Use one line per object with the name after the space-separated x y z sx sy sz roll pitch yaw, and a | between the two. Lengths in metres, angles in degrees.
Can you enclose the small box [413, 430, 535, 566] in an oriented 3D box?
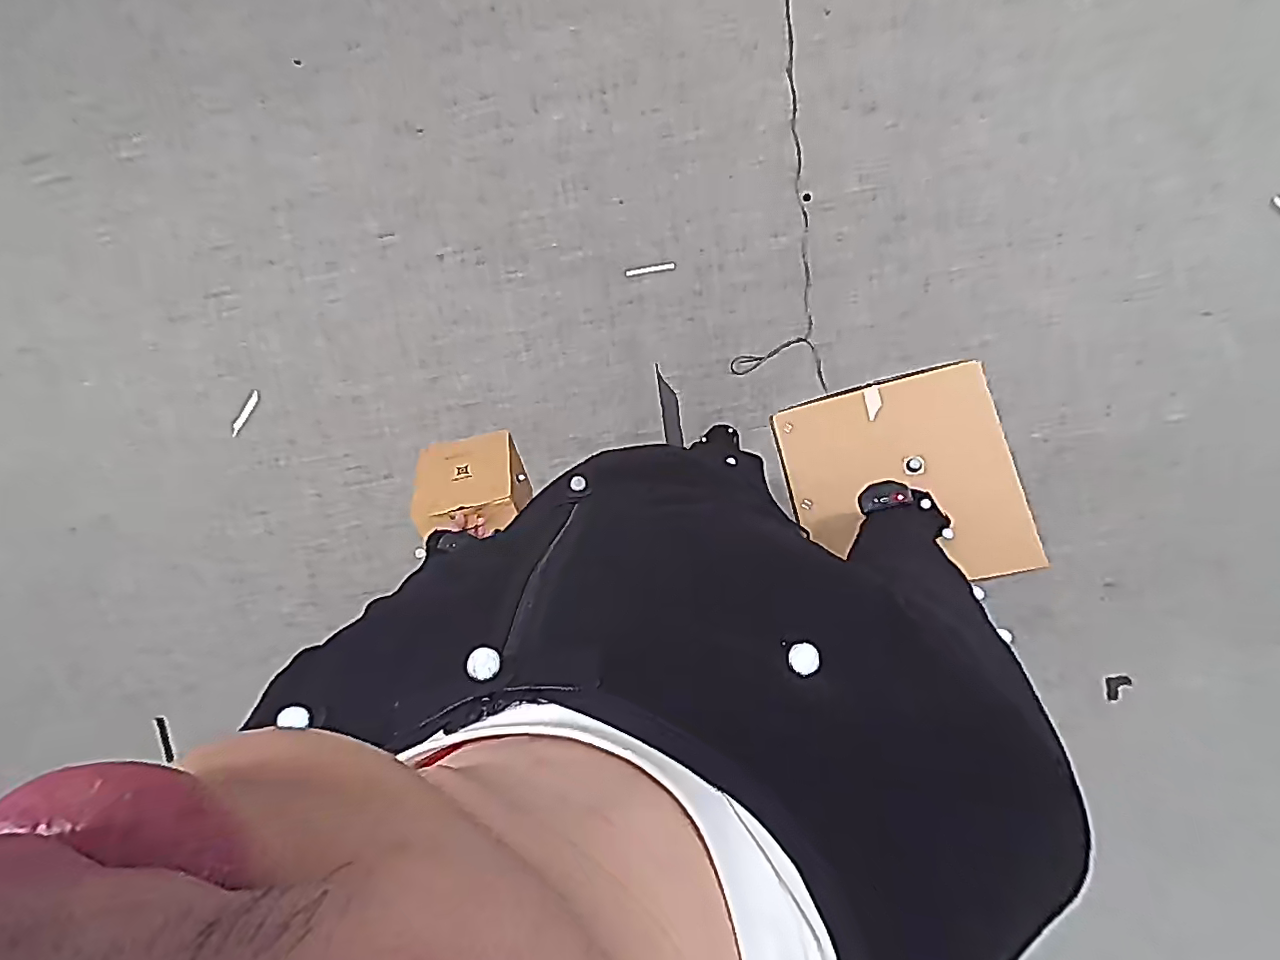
-0.296 0.040 0.993 0.168 0.179 0.176 -13 137 -3 | small box
